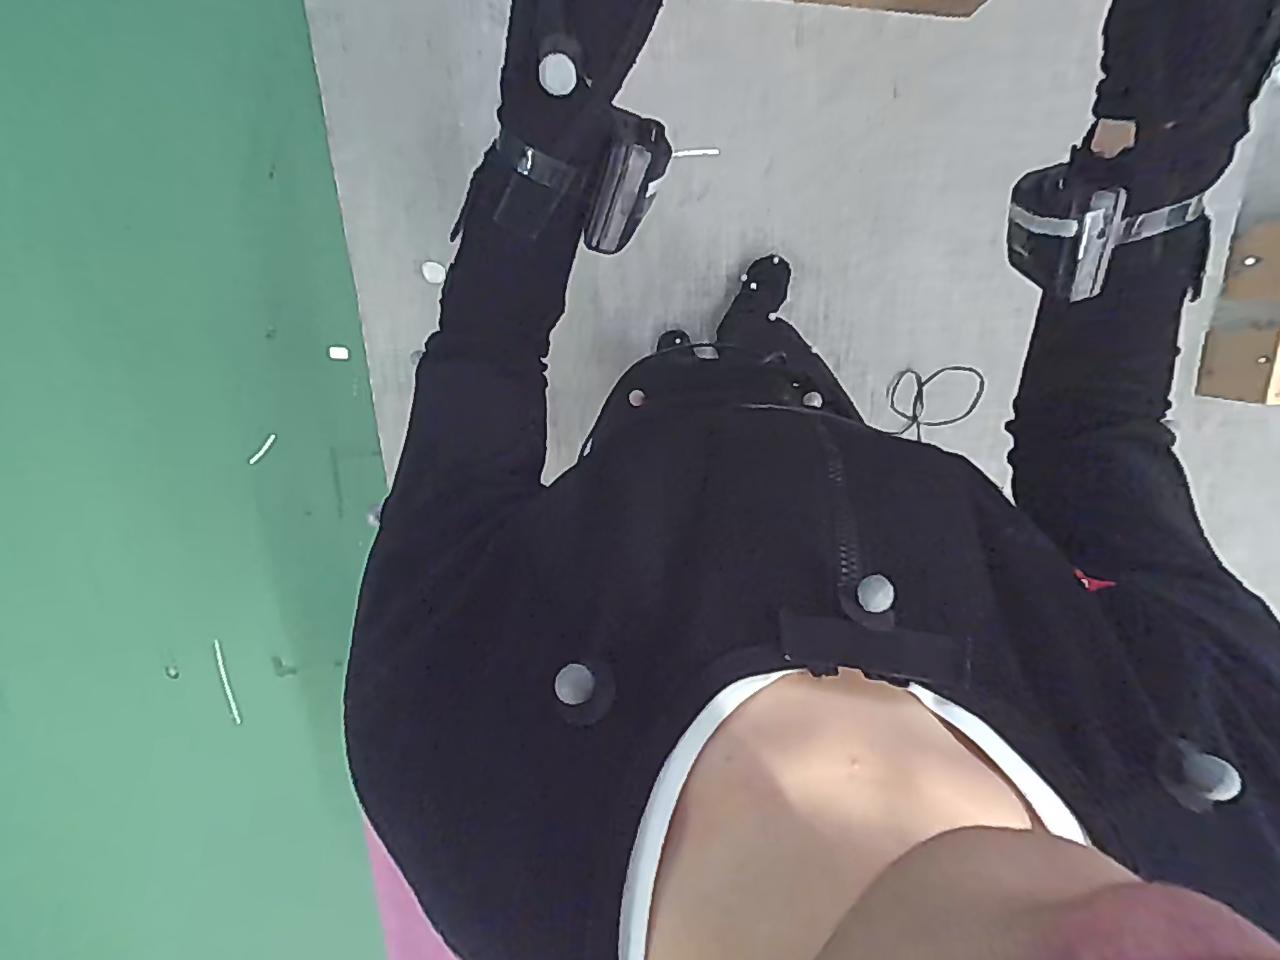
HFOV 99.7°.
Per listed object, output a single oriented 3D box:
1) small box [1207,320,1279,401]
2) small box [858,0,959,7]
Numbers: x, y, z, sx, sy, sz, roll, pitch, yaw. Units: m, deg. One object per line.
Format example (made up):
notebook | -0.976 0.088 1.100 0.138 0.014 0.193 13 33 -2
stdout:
small box | 1.490 -0.280 1.244 0.179 0.176 0.168 -4 106 4
small box | 0.127 -0.348 0.233 0.179 0.176 0.168 5 108 -1
